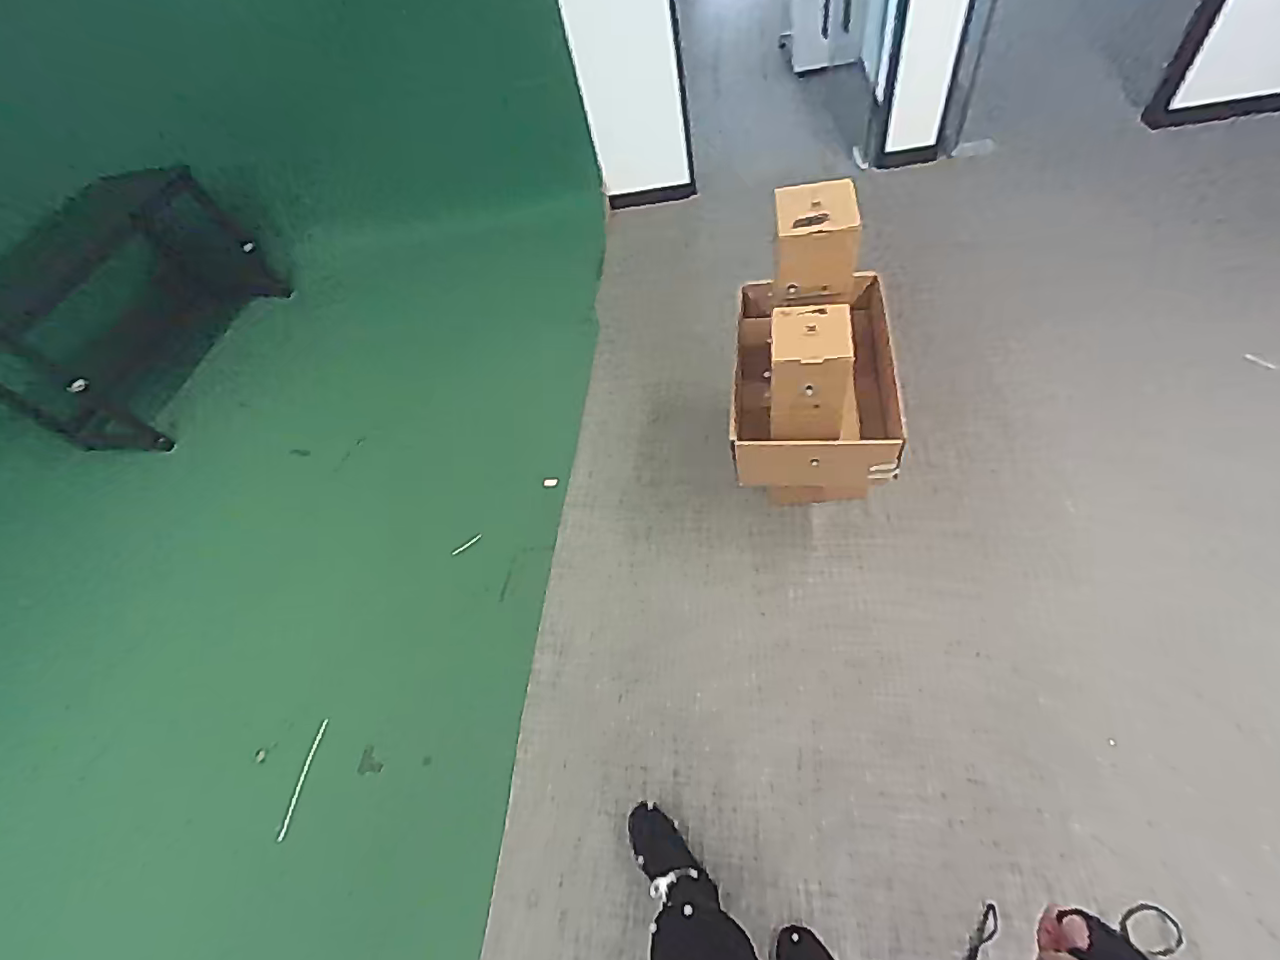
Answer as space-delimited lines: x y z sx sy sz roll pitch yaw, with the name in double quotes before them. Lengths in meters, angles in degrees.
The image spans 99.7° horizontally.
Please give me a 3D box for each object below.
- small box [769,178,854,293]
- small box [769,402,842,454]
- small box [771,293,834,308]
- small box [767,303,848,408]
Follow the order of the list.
"small box" 0.381 -0.543 1.222 0.168 0.176 0.179 -3 58 12
"small box" 0.413 -0.186 1.367 0.168 0.176 0.179 0 55 15
"small box" 0.449 -0.393 1.508 0.168 0.176 0.179 -1 59 13
"small box" 0.379 -0.277 1.236 0.168 0.176 0.179 1 56 14
